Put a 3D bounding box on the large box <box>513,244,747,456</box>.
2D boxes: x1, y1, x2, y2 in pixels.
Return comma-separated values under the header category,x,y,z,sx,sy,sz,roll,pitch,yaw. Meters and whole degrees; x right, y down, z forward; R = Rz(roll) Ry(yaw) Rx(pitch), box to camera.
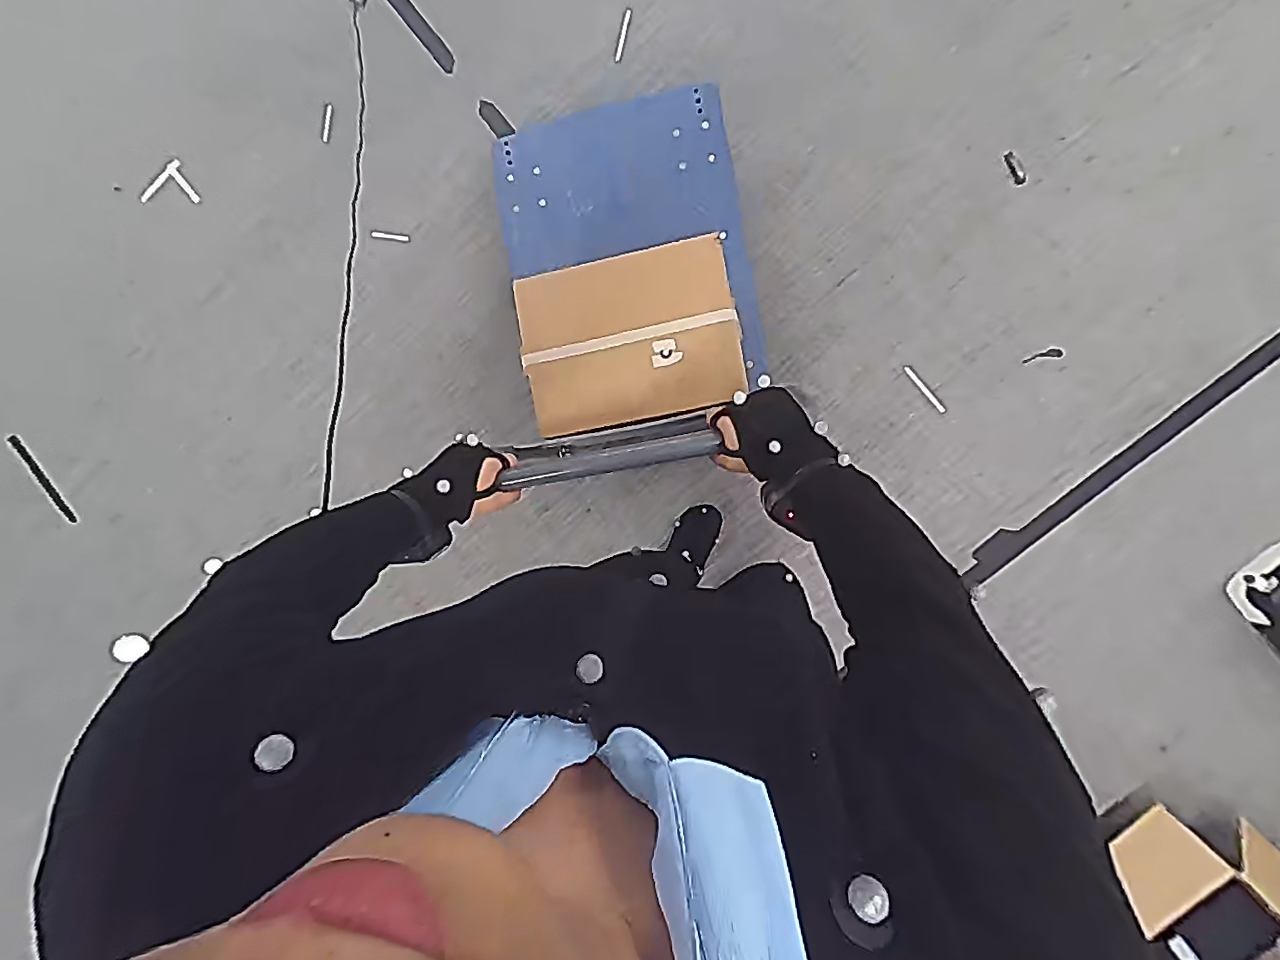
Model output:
category,x,y,z,sx,sy,sz,roll,pitch,yaw
large box,-0.008,-0.246,1.161,0.408,0.320,0.320,-11,89,7
